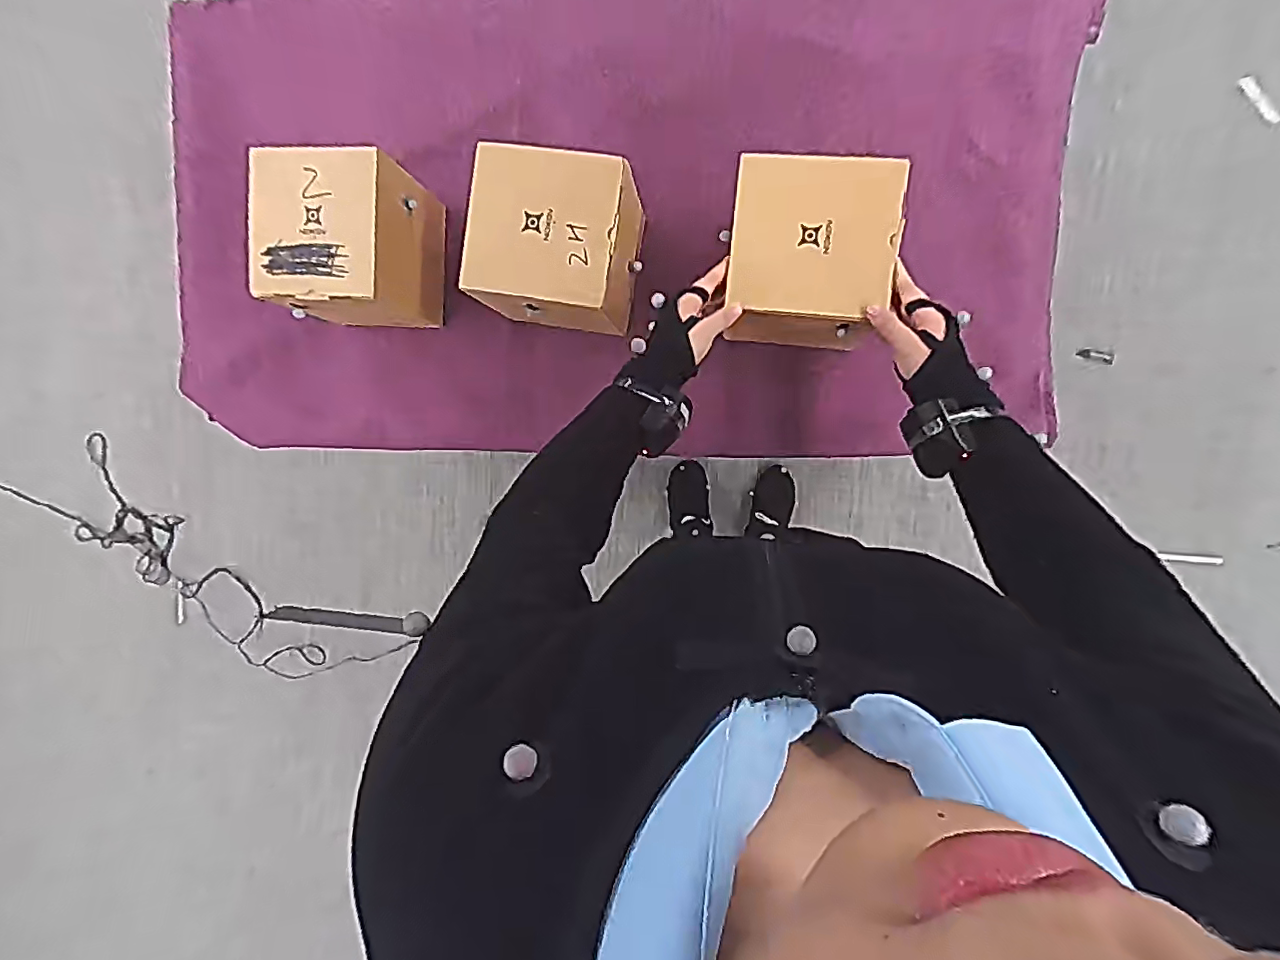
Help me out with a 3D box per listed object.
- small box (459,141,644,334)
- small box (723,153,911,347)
[{"bbox_3d":[-0.101,-0.291,0.684,0.179,0.176,0.168,11,95,6],"label":"small box"},{"bbox_3d":[0.195,-0.261,0.650,0.179,0.176,0.168,6,94,6],"label":"small box"}]
